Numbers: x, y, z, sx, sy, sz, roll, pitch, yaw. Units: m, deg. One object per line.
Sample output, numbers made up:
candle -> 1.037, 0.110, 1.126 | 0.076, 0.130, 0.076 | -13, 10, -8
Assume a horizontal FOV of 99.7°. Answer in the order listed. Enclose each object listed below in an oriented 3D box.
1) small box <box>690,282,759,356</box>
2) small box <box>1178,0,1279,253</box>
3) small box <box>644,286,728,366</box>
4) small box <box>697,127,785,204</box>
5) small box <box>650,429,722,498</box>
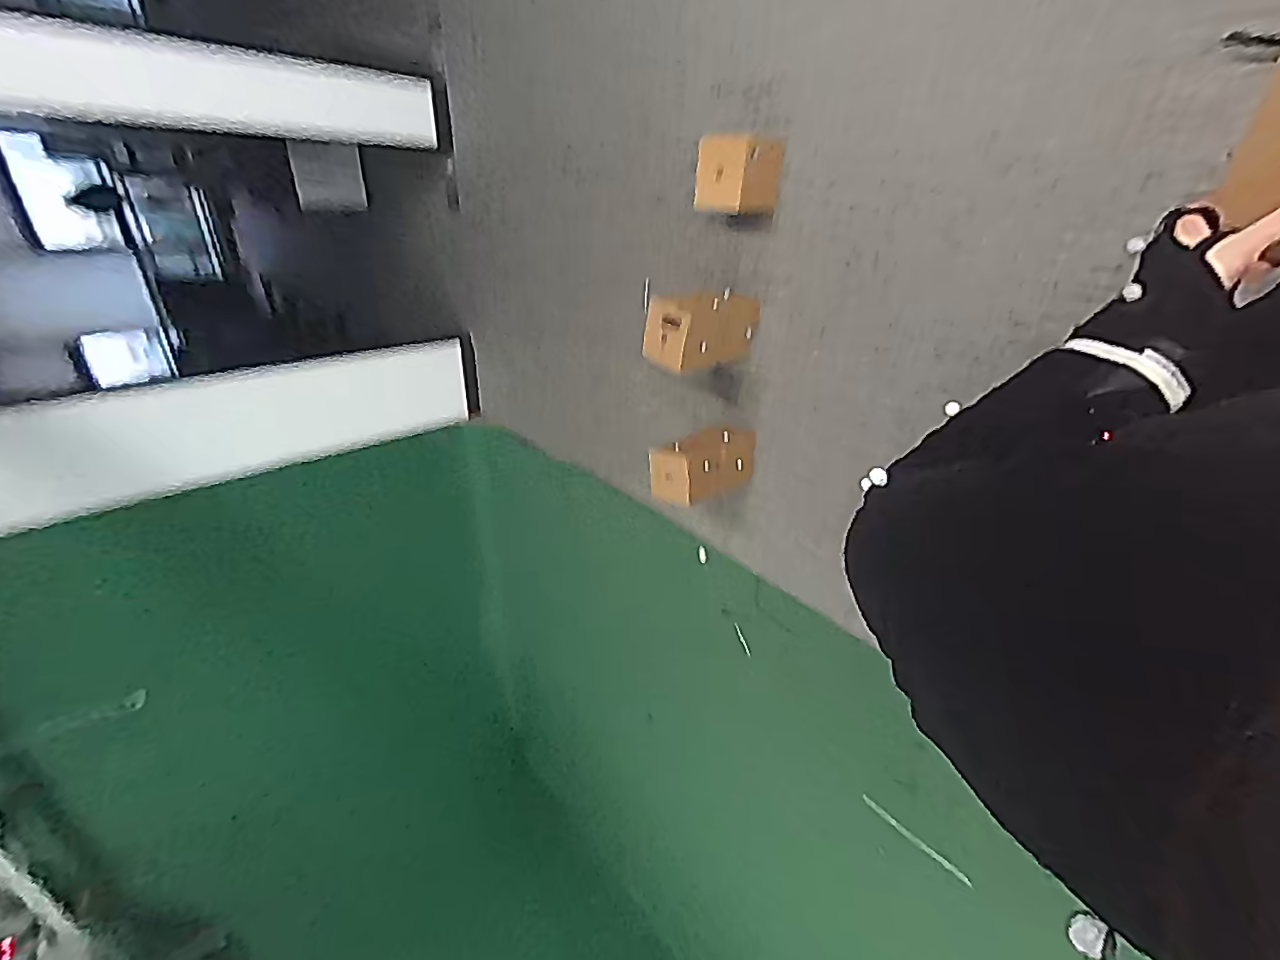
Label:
small box -> 0.253, -0.514, 1.708 | 0.168, 0.176, 0.179 | 38, 132, 34
small box -> 0.512, -0.255, 0.331 | 0.168, 0.176, 0.179 | 49, 173, 41
small box -> 0.137, -0.462, 1.602 | 0.168, 0.176, 0.179 | 38, 134, 33
small box -> 0.281, -0.872, 1.504 | 0.168, 0.176, 0.179 | 30, 127, 39
small box -> 0.154, -0.060, 1.777 | 0.179, 0.176, 0.168 | 20, 121, 45
